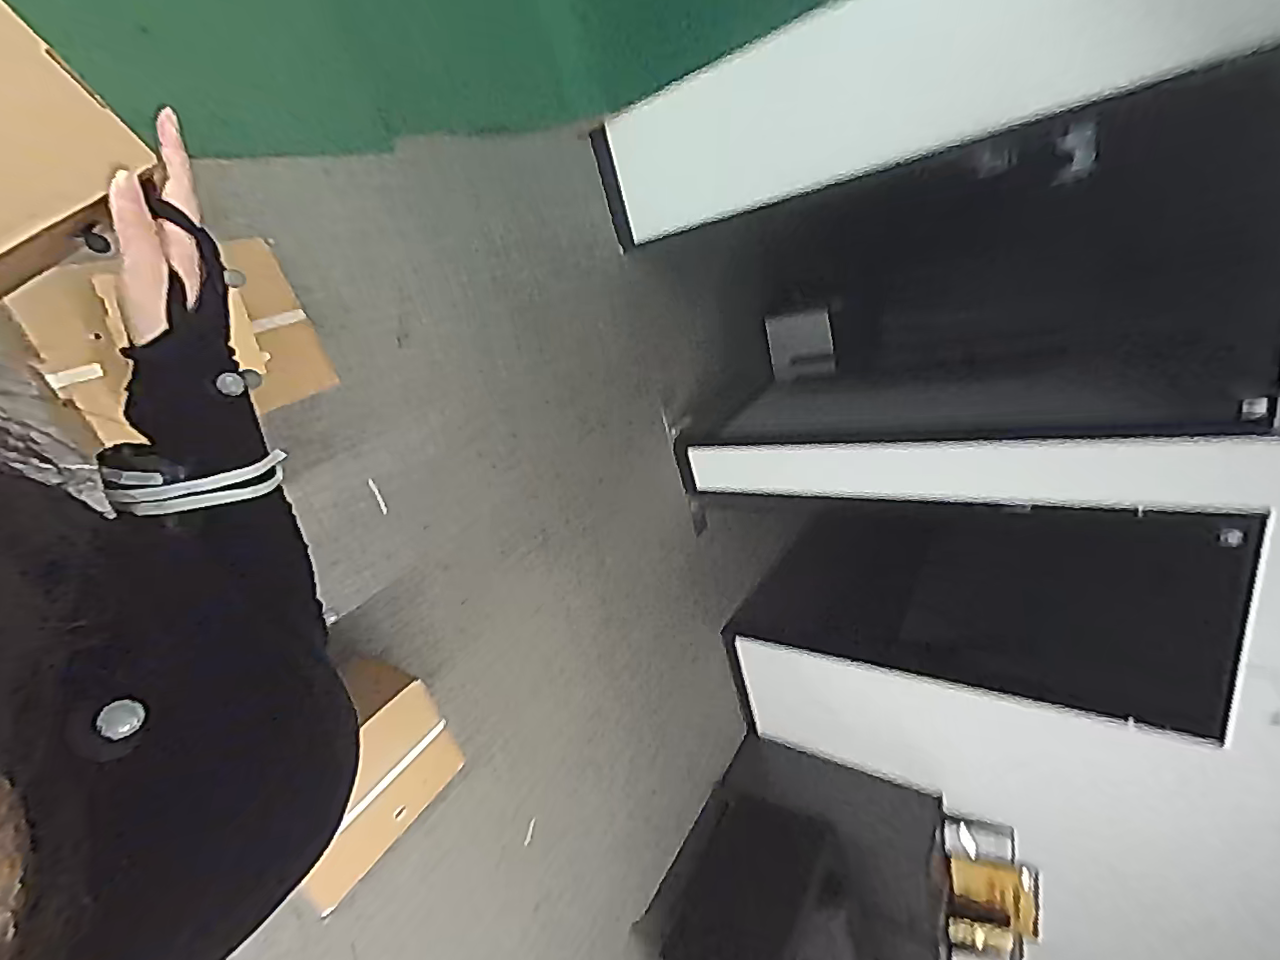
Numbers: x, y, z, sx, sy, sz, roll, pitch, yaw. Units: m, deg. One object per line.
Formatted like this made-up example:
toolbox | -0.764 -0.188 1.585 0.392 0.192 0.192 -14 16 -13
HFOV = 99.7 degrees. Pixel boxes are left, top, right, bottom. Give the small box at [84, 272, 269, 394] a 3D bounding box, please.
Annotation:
small box | -0.764 -0.242 0.897 0.179 0.176 0.168 -26 111 -48

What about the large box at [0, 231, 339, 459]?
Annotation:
large box | -0.927 -0.266 1.084 0.408 0.320 0.320 -41 123 -44
